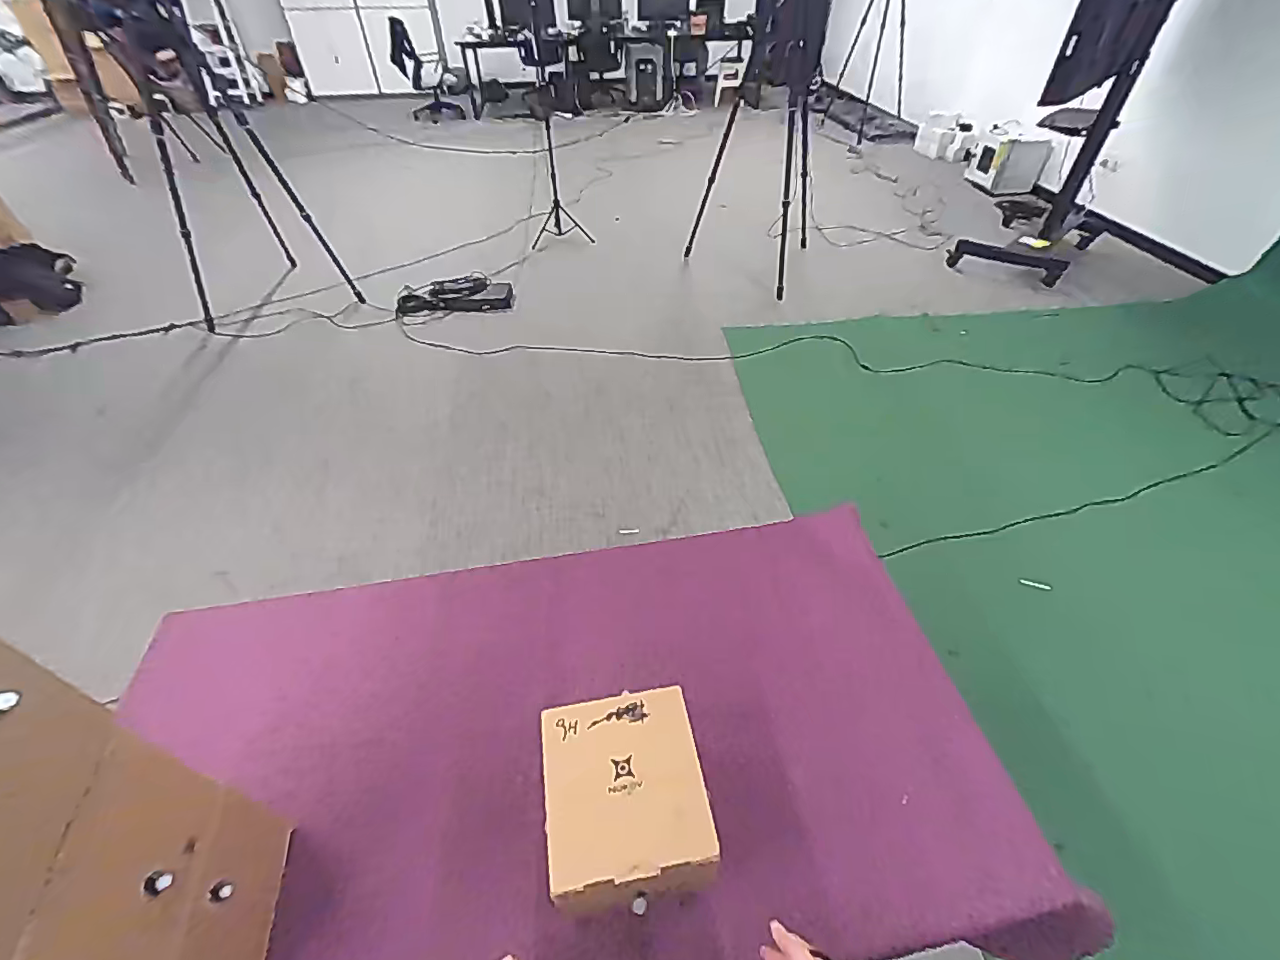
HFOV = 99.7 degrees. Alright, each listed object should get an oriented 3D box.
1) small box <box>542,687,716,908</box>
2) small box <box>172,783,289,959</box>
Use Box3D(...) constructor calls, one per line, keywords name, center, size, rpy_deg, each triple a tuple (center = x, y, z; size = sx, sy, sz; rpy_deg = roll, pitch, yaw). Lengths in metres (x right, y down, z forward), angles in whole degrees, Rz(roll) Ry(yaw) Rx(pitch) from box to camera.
Box3D(name="small box", center=(-0.018, 0.370, 0.625), size=(0.168, 0.176, 0.179), rpy_deg=(-7, 46, -7))
Box3D(name="small box", center=(-0.497, 0.445, 0.555), size=(0.168, 0.176, 0.179), rpy_deg=(-8, 45, -8))
